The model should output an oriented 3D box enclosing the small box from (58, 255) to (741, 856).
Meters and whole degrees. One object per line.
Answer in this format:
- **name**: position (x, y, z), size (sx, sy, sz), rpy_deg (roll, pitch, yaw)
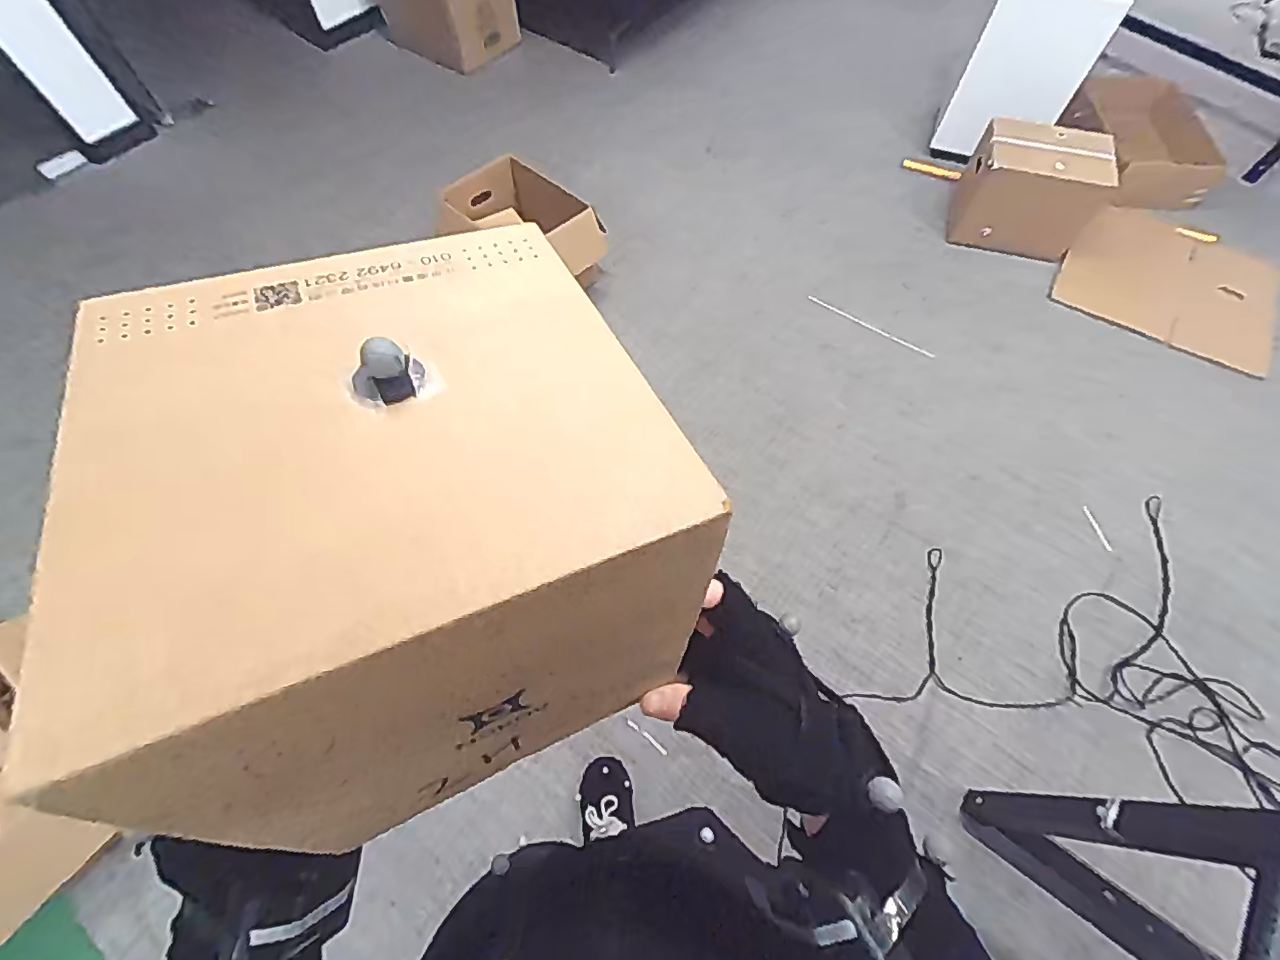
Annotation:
- **small box**: position (-0.085, 0.023, 0.236), size (0.168, 0.179, 0.176), rpy_deg (-19, 56, -19)
